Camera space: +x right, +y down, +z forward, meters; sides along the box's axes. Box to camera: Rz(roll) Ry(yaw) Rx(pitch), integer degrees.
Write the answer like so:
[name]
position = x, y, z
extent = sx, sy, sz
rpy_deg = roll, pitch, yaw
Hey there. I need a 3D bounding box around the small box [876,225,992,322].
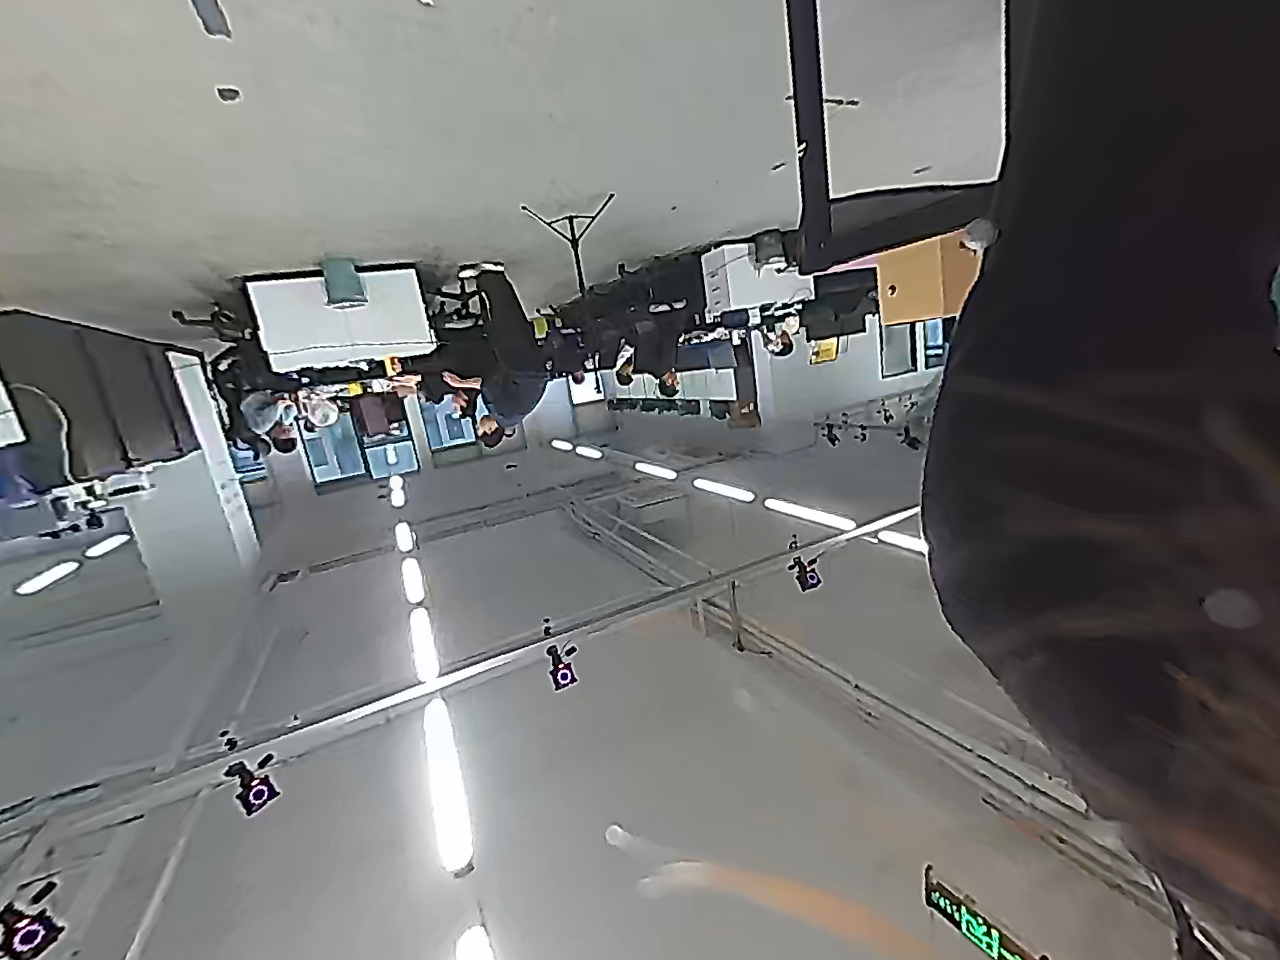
[small box]
position = 0.655, -0.460, 1.213
extent = 0.168, 0.176, 0.179
rpy_deg = -16, -165, -18
